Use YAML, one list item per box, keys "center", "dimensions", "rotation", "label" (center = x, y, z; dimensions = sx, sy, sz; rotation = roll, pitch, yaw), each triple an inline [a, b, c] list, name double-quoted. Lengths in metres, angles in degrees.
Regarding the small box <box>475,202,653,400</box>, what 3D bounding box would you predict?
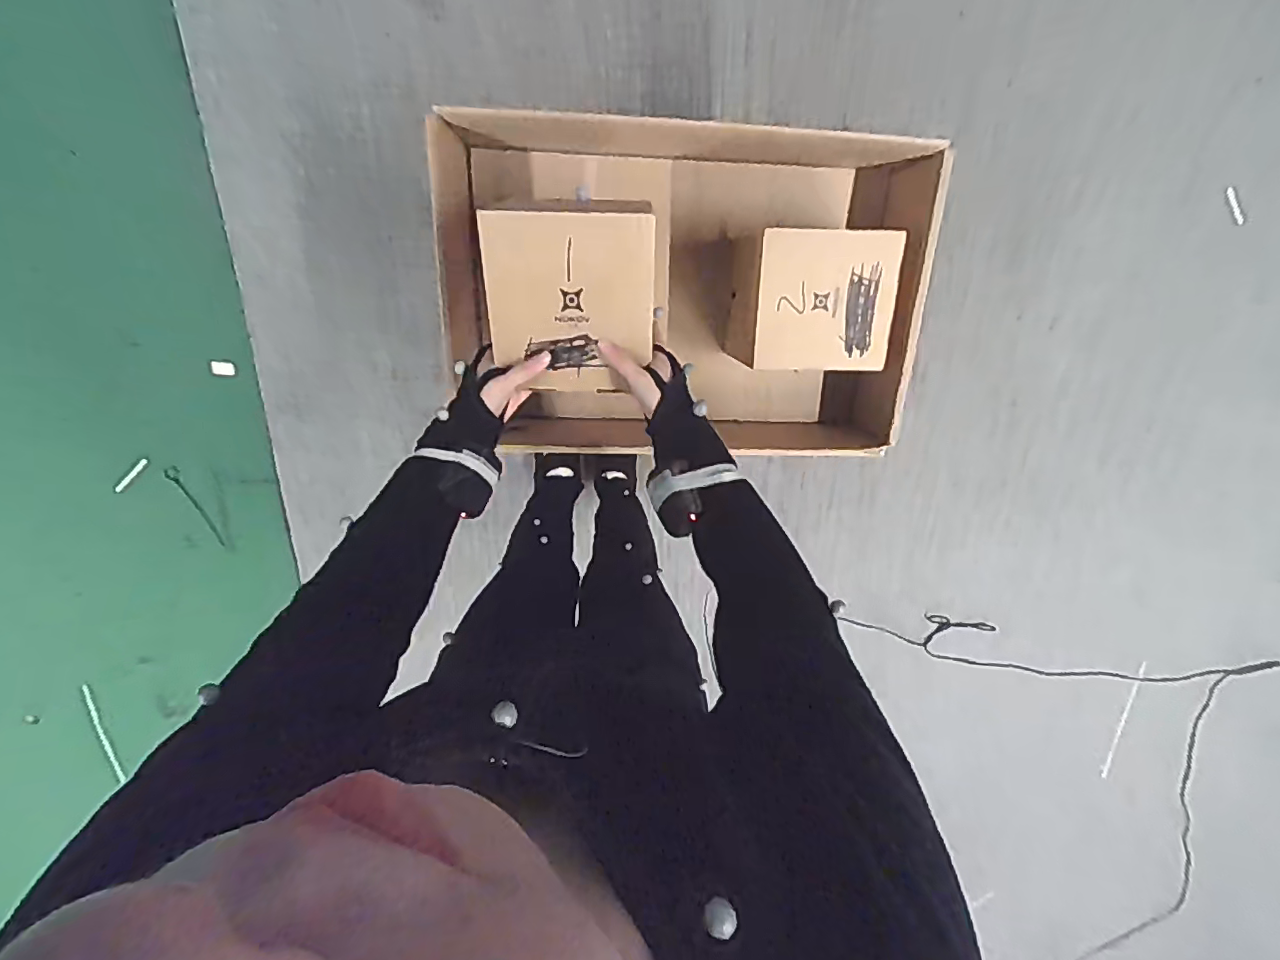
- center: [-0.071, -0.202, 0.599]
  dimensions: [0.168, 0.176, 0.179]
  rotation: [1, 120, -1]
  label: "small box"
